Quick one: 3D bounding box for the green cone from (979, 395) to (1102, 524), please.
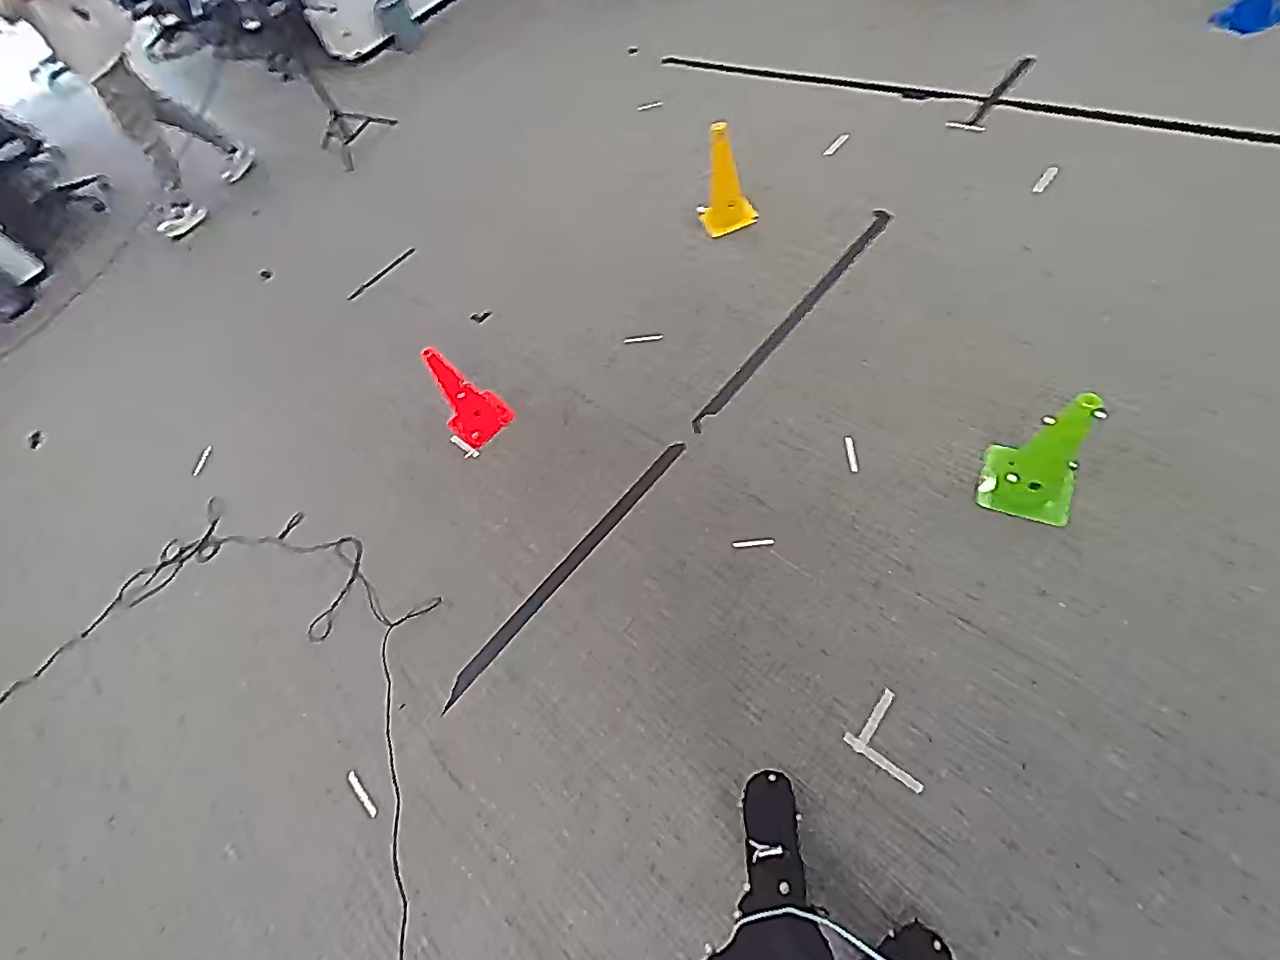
[{"bbox_3d":[0.964,-0.077,1.259,0.200,0.368,0.202,17,67,24],"label":"green cone"}]

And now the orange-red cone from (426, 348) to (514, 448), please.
[{"bbox_3d":[-0.611,-0.308,1.823,0.199,0.360,0.198,-41,59,-12],"label":"orange-red cone"}]
